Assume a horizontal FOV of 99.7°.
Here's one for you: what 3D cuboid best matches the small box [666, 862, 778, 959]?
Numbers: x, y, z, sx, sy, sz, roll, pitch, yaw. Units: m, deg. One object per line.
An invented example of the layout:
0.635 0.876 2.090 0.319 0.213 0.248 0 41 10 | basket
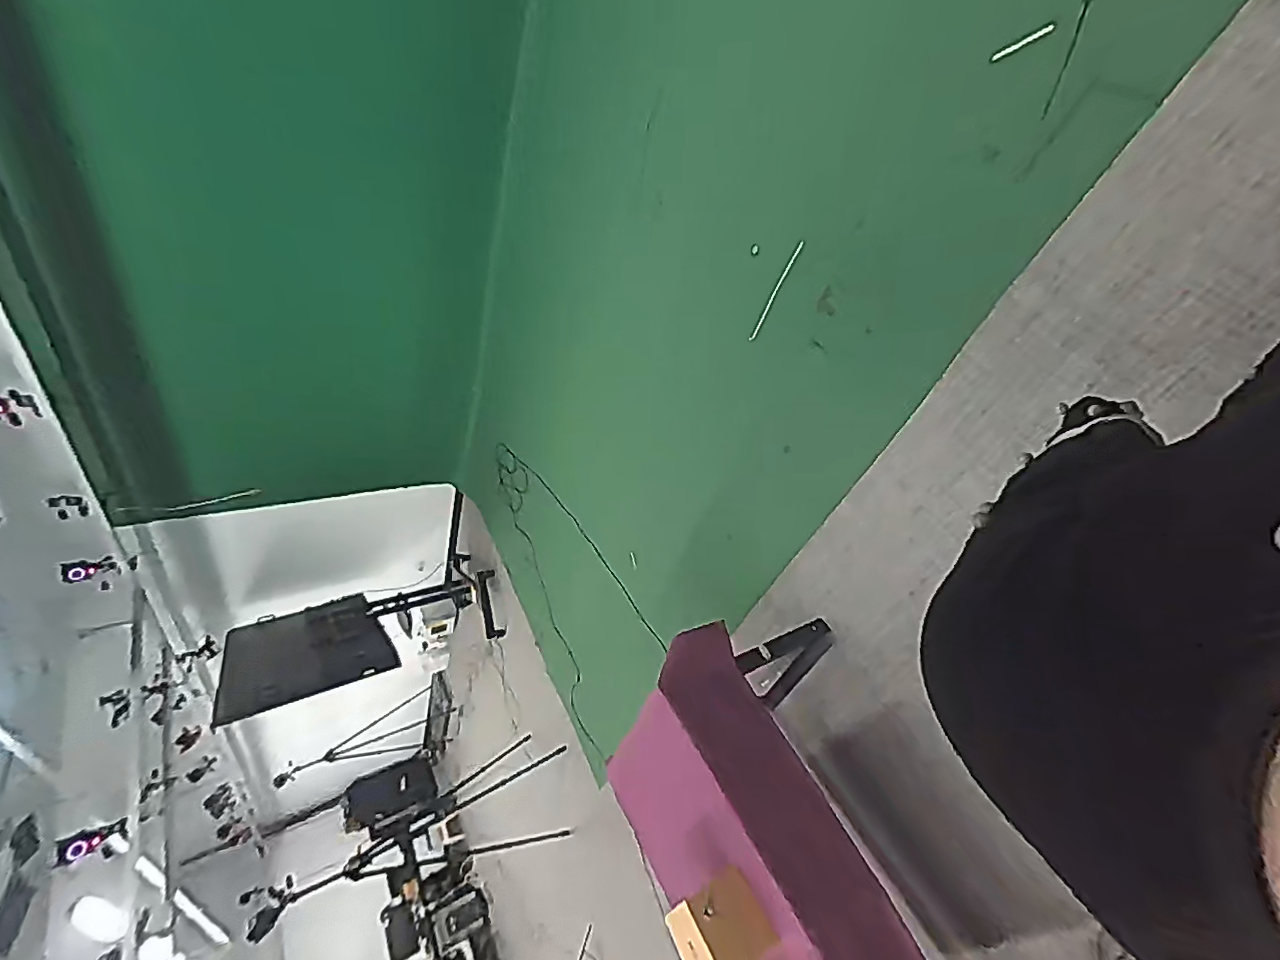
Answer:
0.197 1.069 1.314 0.179 0.176 0.168 53 139 34 | small box
